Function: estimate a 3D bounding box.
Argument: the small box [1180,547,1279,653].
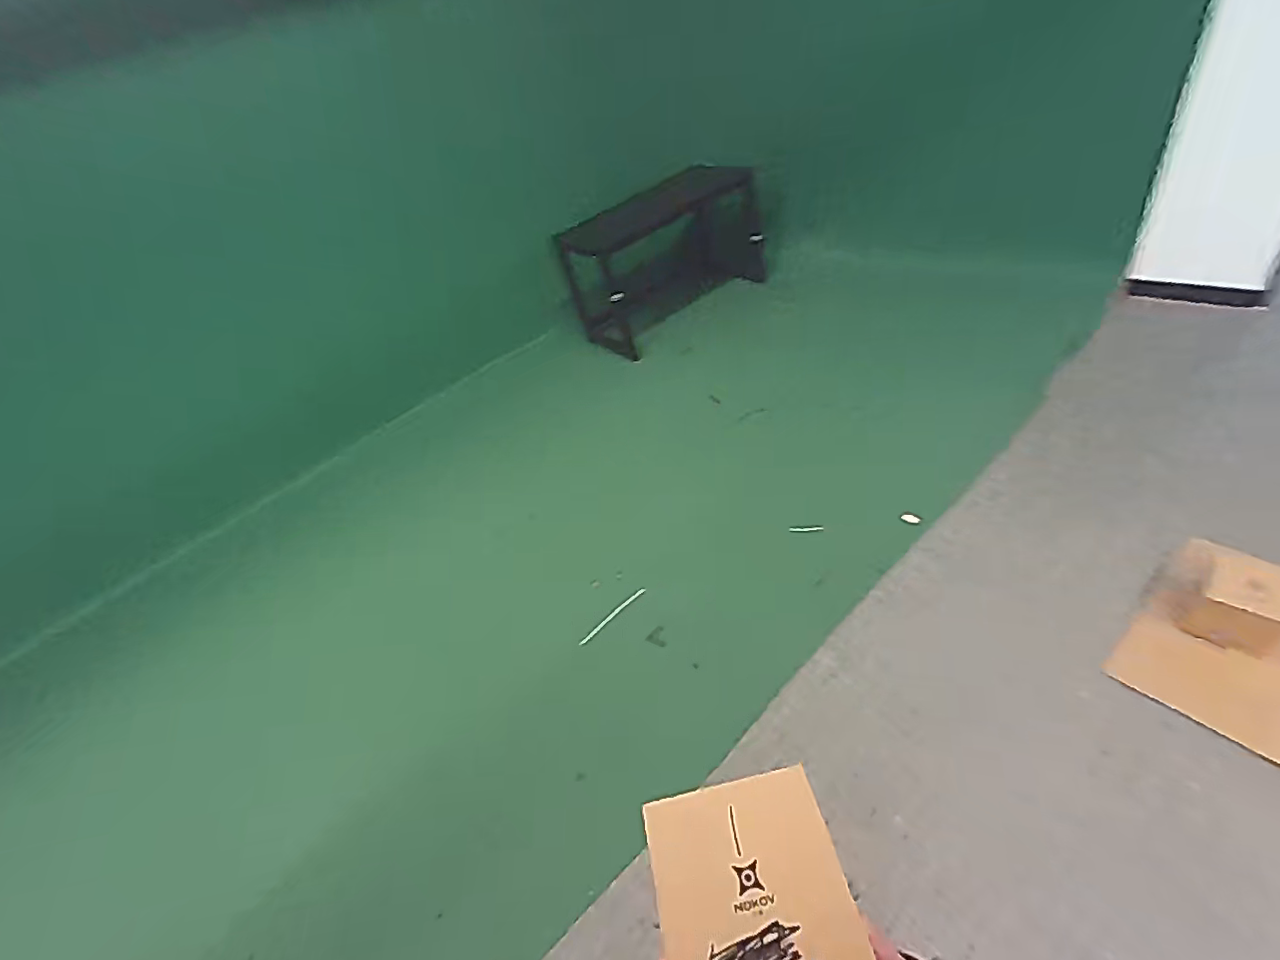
[{"bbox_3d":[1.577,0.315,1.423,0.168,0.176,0.179,25,58,40],"label":"small box"}]

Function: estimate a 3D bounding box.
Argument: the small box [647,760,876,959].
[{"bbox_3d":[0.111,0.404,0.518,0.168,0.176,0.179,-13,42,1],"label":"small box"}]
